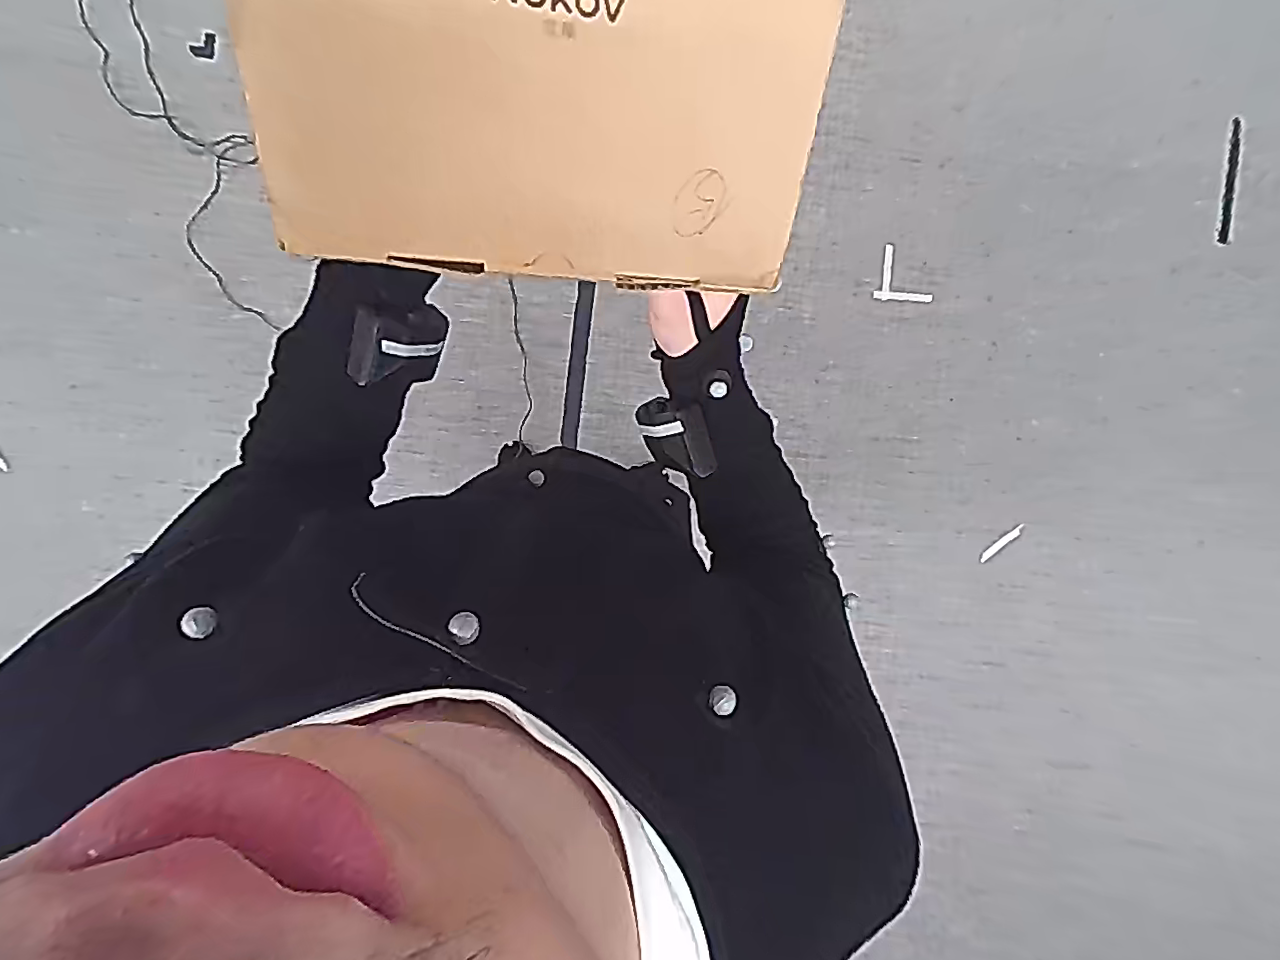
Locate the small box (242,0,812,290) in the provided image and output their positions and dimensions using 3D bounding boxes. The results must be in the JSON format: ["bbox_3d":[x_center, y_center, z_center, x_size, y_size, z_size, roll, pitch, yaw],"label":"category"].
[{"bbox_3d":[-0.041,-0.189,0.220,0.168,0.176,0.179,-1,119,-13],"label":"small box"}]
